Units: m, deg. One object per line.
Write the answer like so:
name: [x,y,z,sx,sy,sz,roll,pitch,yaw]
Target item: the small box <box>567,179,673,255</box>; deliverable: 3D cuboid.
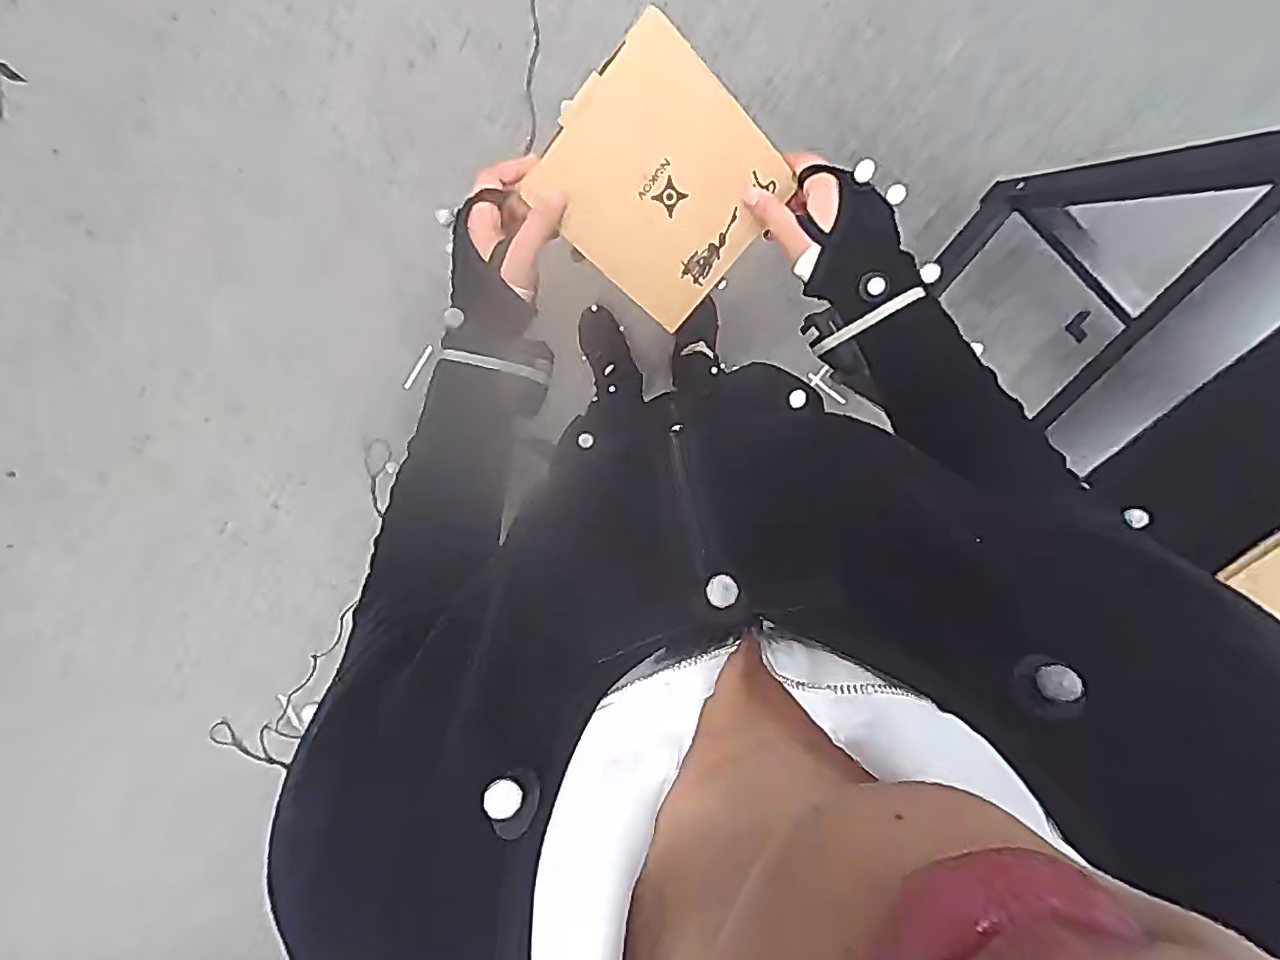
small box: [-0.046,-0.629,1.206,0.168,0.176,0.179,30,109,-13]
